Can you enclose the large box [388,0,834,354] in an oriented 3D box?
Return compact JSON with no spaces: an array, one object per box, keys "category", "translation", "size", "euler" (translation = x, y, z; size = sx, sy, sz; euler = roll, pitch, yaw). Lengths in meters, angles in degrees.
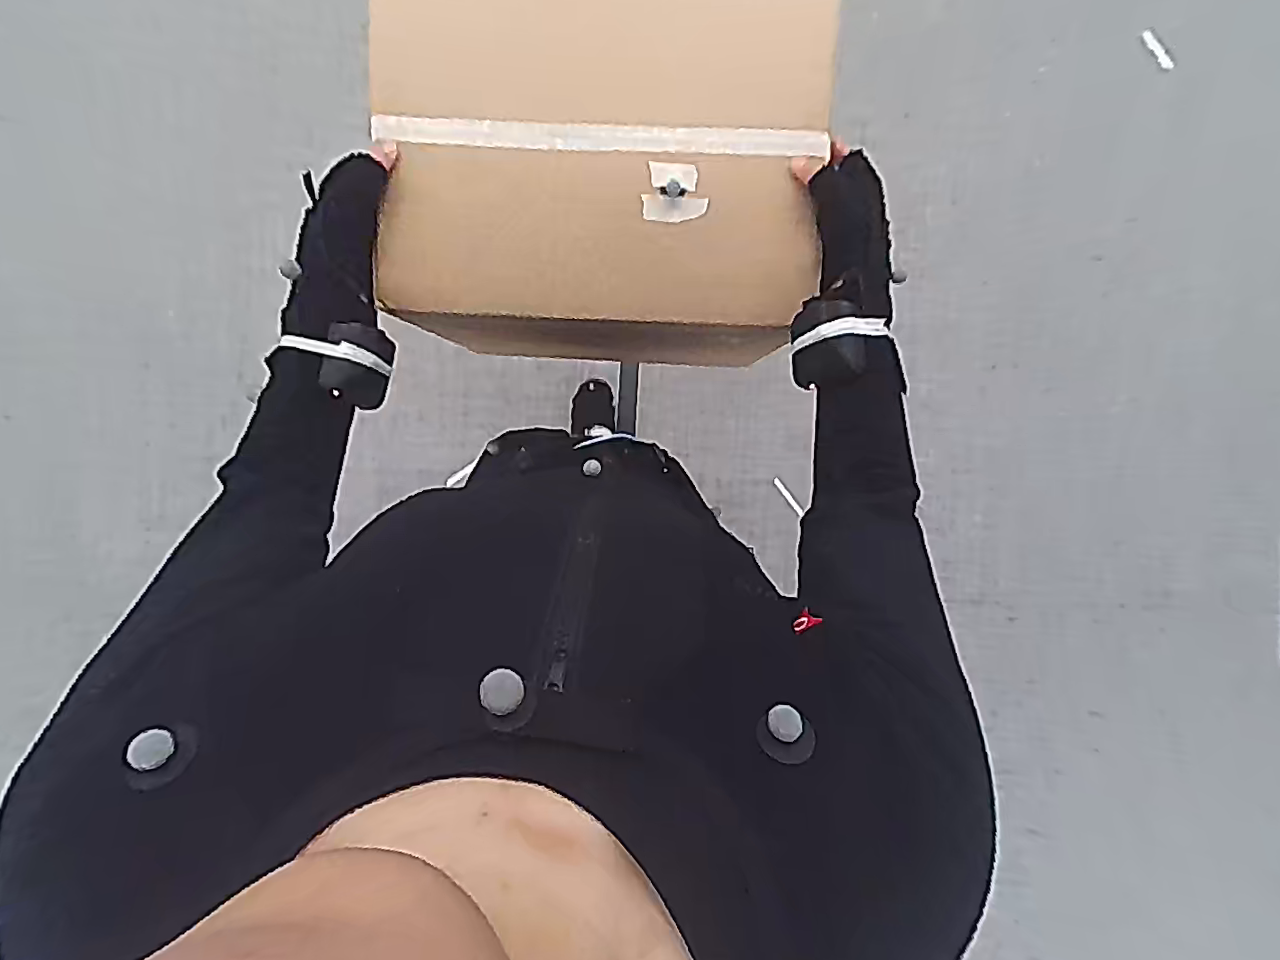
[{"category":"large box","translation":[-0.033,-0.329,0.640],"size":[0.408,0.320,0.320],"euler":[3,97,-1]}]
